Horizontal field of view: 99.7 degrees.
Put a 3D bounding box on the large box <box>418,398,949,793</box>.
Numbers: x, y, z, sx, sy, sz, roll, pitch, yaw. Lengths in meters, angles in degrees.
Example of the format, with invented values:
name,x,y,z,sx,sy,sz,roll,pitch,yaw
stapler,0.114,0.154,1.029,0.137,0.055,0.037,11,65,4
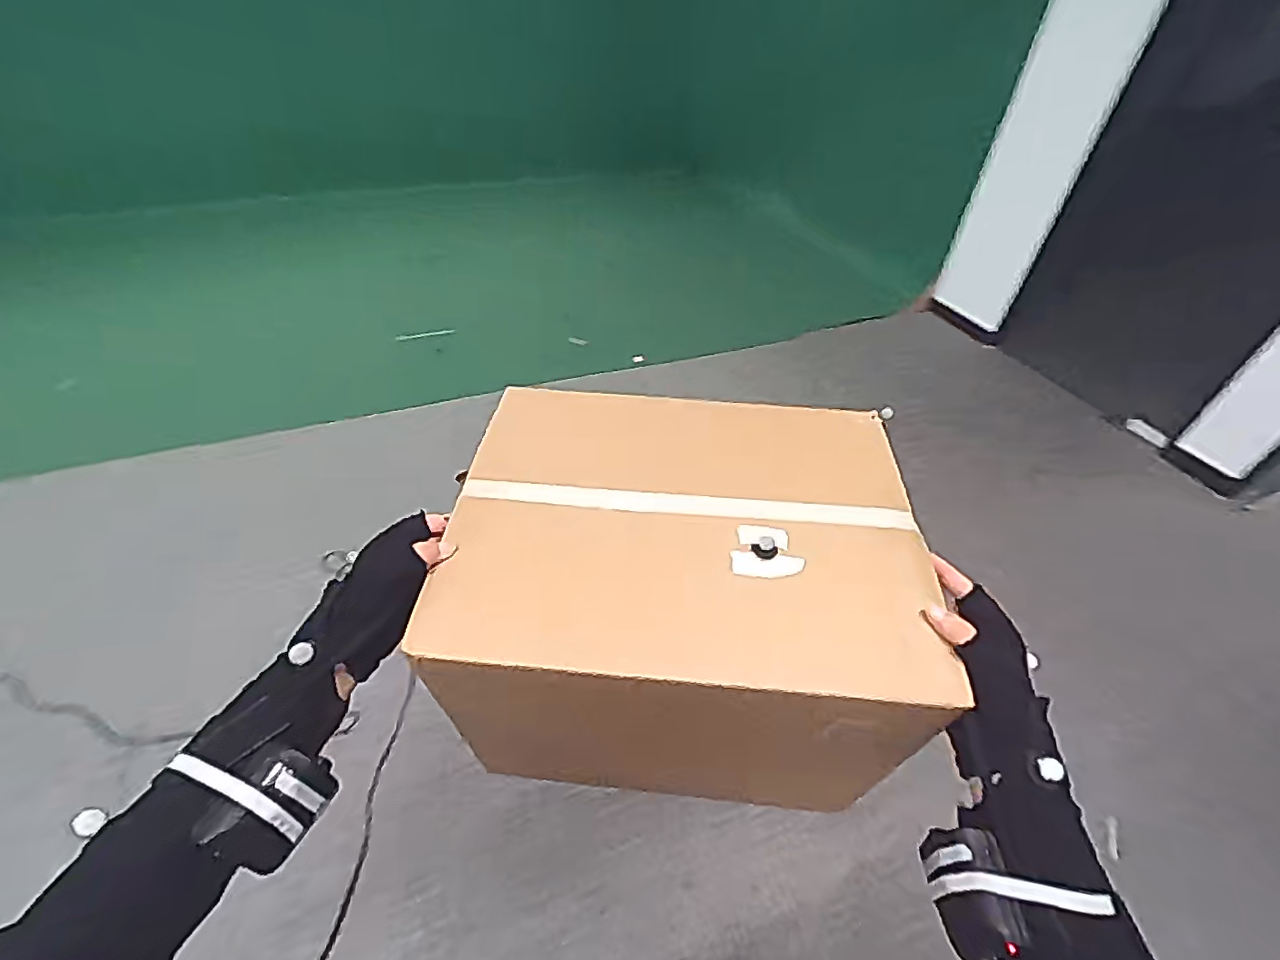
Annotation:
name,x,y,z,sx,sy,sz,roll,pitch,yaw
large box,0.032,0.131,0.606,0.408,0.320,0.320,4,48,1
